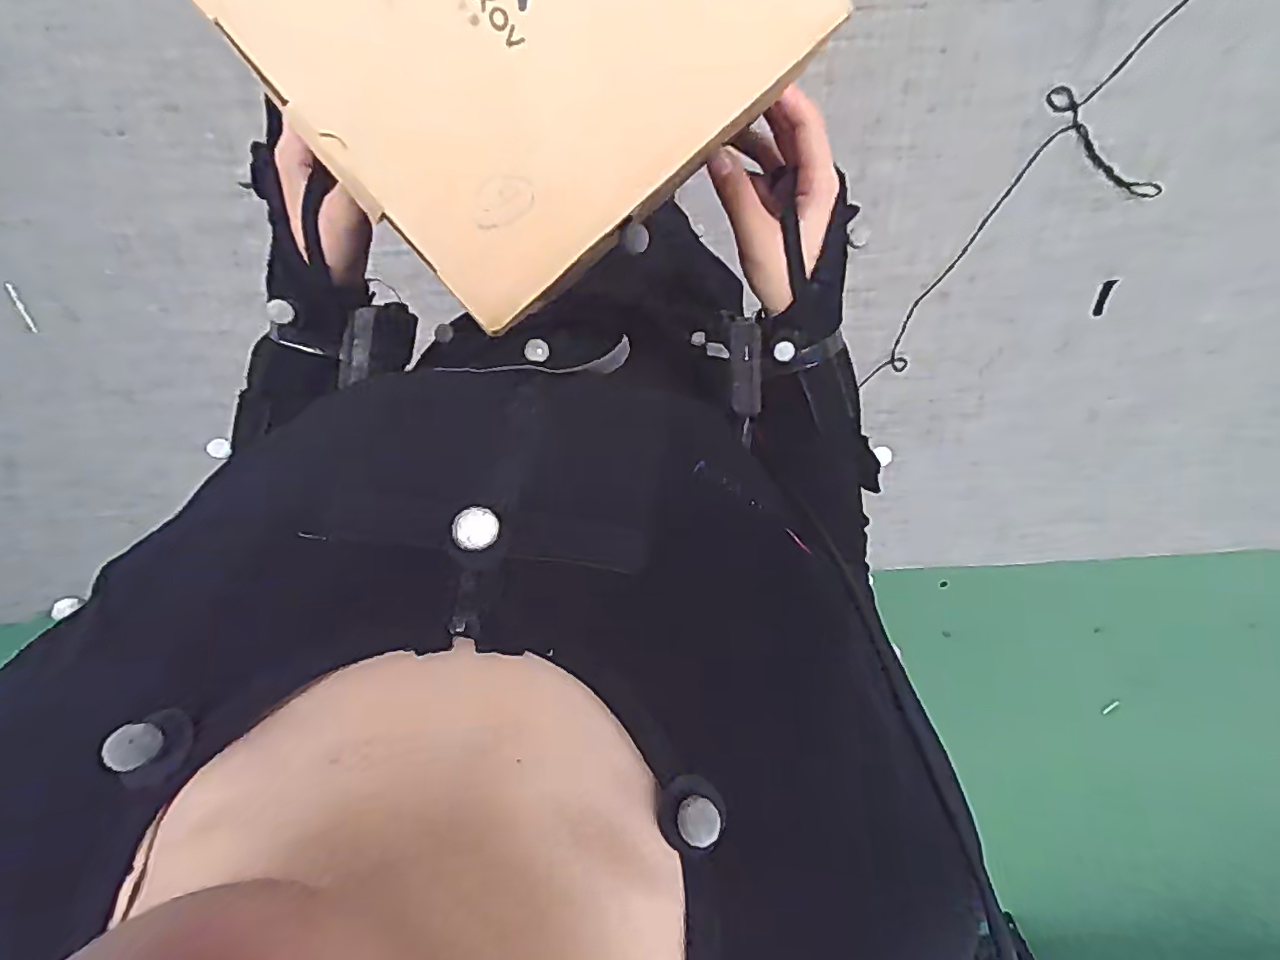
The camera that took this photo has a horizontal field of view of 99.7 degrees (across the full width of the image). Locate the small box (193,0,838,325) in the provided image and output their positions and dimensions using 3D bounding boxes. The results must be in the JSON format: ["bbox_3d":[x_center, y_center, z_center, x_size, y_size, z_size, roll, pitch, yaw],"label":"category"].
[{"bbox_3d":[-0.046,-0.200,0.254,0.179,0.176,0.168,-36,109,14],"label":"small box"}]
